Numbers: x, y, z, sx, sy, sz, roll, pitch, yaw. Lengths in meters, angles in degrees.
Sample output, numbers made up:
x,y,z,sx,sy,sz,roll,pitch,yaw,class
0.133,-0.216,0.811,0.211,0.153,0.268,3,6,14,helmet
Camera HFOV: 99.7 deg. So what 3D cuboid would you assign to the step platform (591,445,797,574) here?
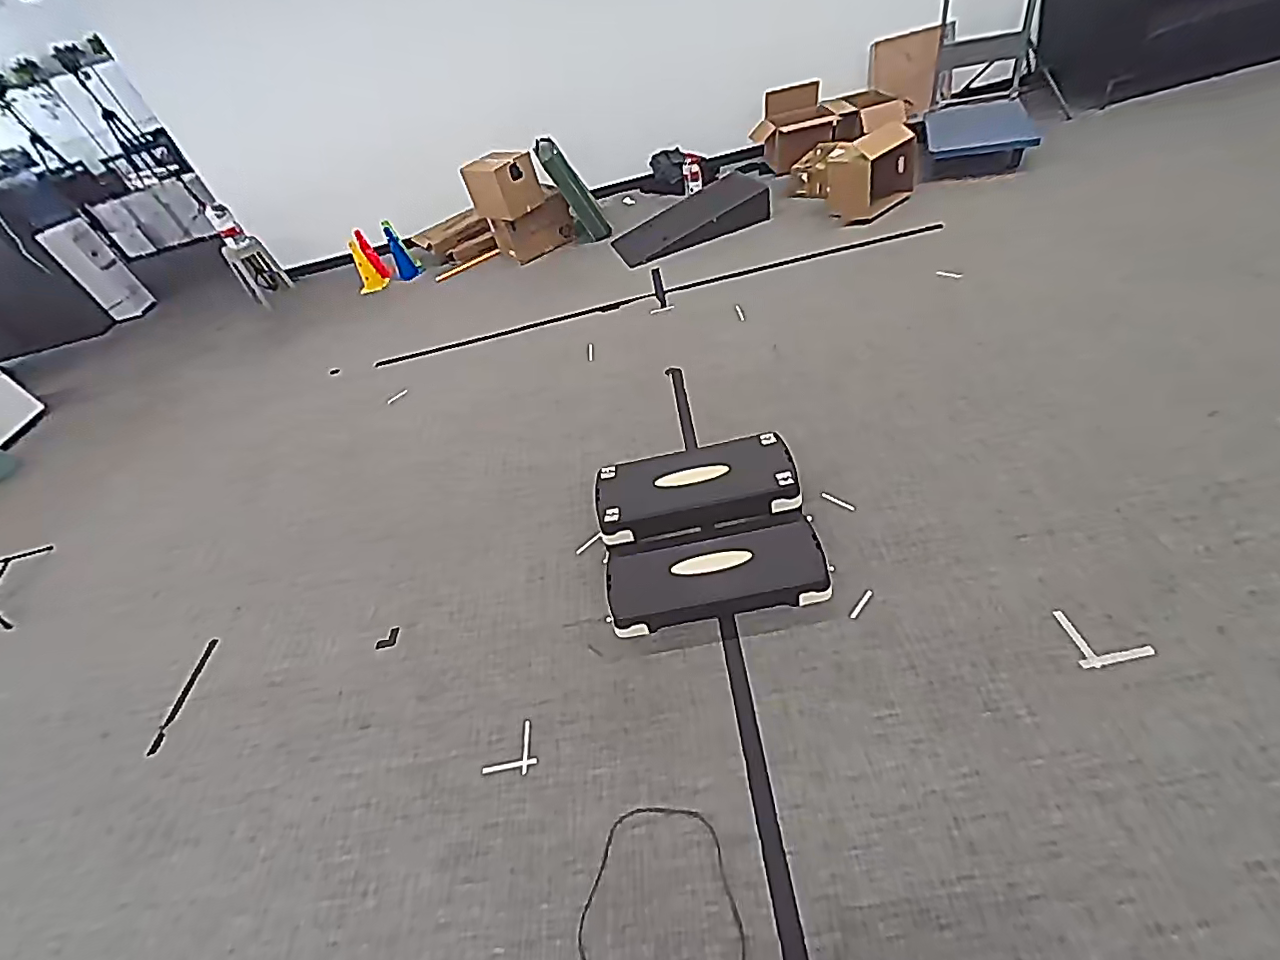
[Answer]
x,y,z,sx,sy,sz,roll,pitch,yaw,class
0.174,0.094,1.841,0.684,0.204,0.286,-12,44,4,step platform
